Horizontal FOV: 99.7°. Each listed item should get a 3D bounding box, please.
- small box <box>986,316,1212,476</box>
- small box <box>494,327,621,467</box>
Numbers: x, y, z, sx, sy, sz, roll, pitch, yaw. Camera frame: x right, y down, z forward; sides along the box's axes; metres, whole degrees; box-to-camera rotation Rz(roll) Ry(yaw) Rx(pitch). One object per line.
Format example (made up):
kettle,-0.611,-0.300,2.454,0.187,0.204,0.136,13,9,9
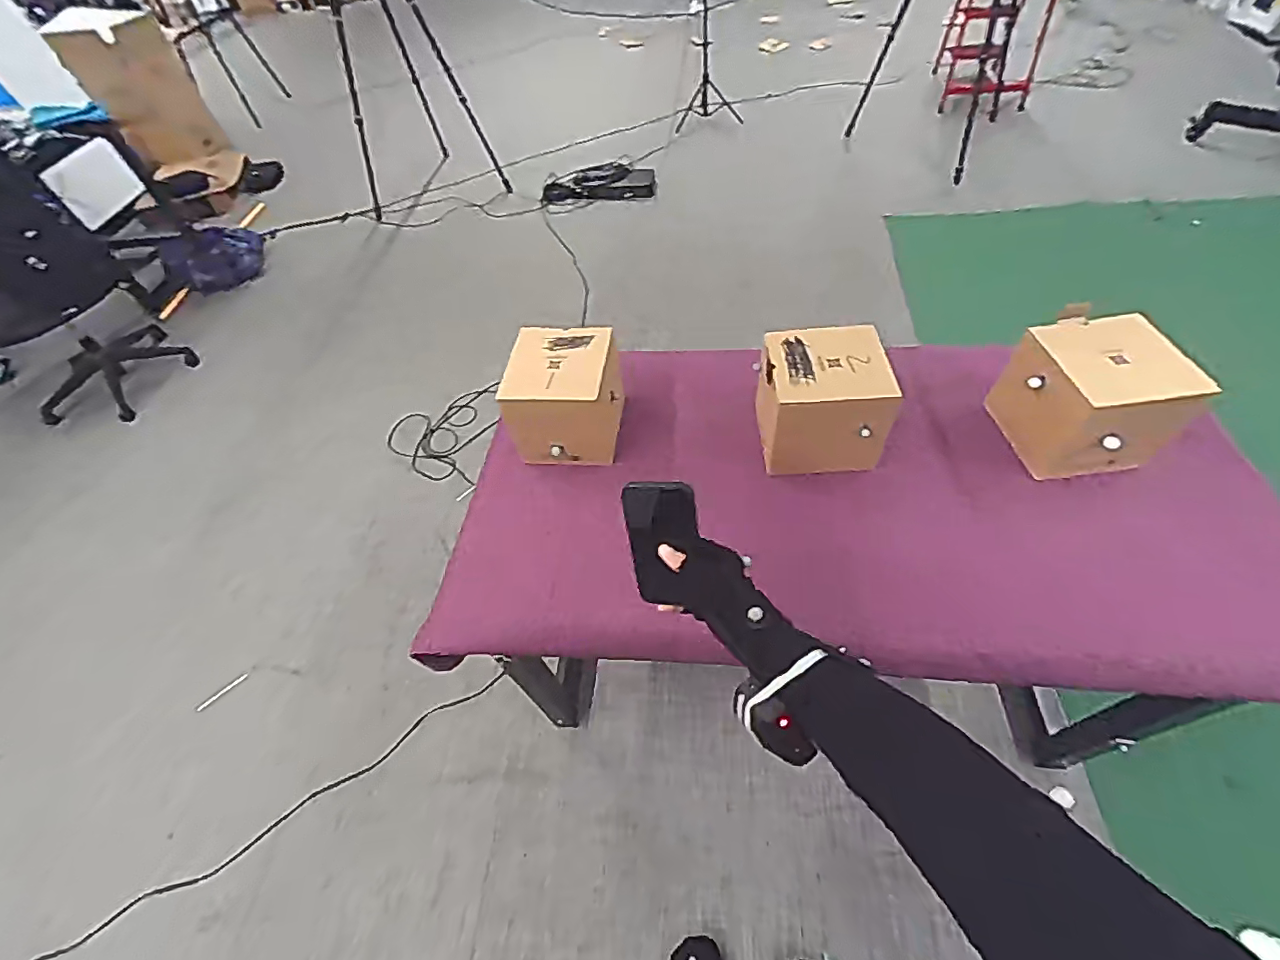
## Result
small box,0.675,-0.119,0.825,0.168,0.176,0.179,-7,52,2
small box,-0.131,-0.144,0.941,0.168,0.176,0.179,2,55,9
